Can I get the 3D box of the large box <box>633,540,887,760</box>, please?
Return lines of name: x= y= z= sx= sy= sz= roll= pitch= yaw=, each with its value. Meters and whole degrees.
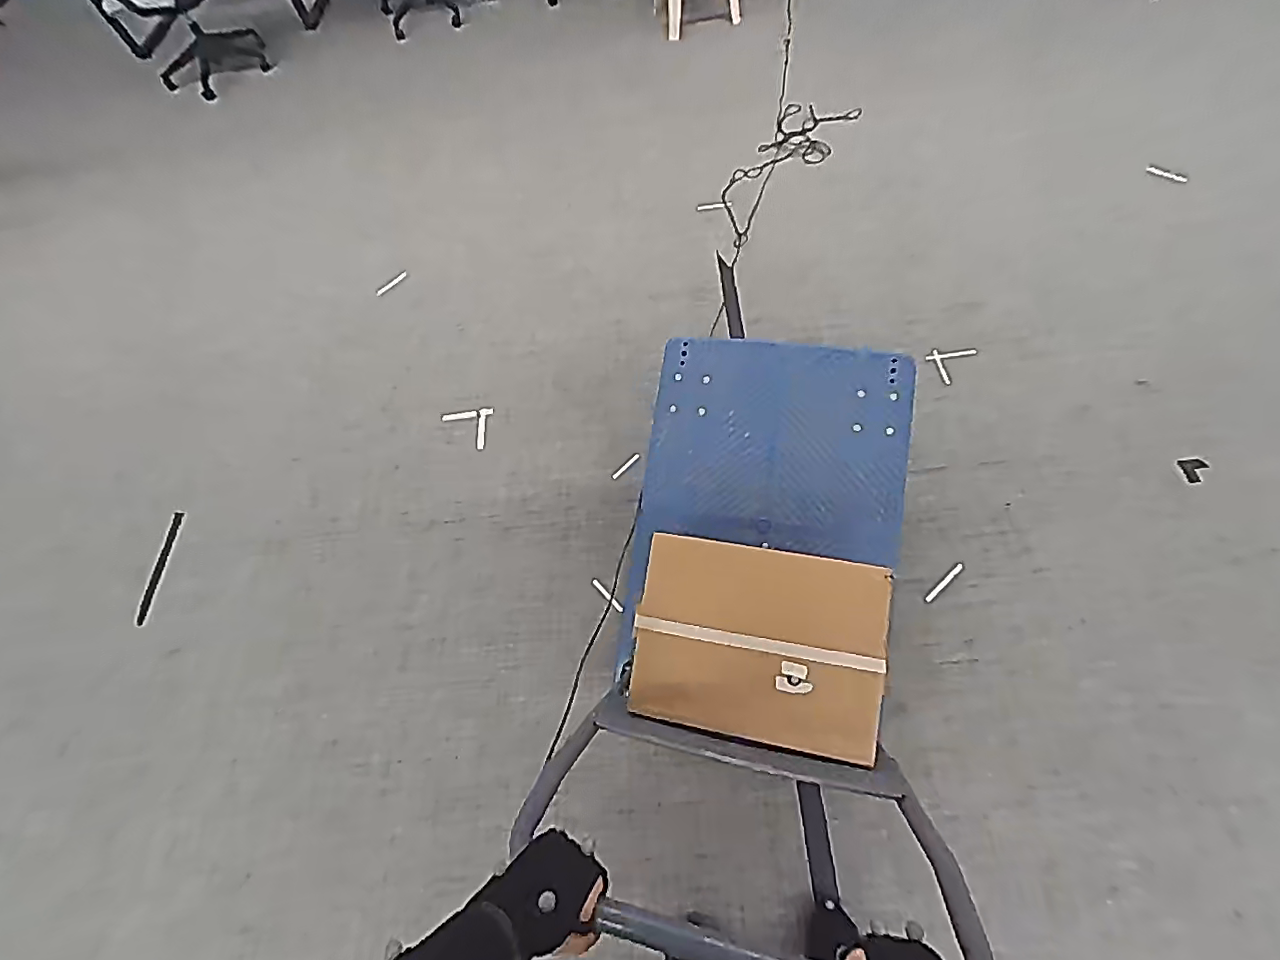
large box: x=0.224 y=0.302 z=1.064 sx=0.408 sy=0.320 sz=0.320 roll=7 pitch=83 yaw=11
